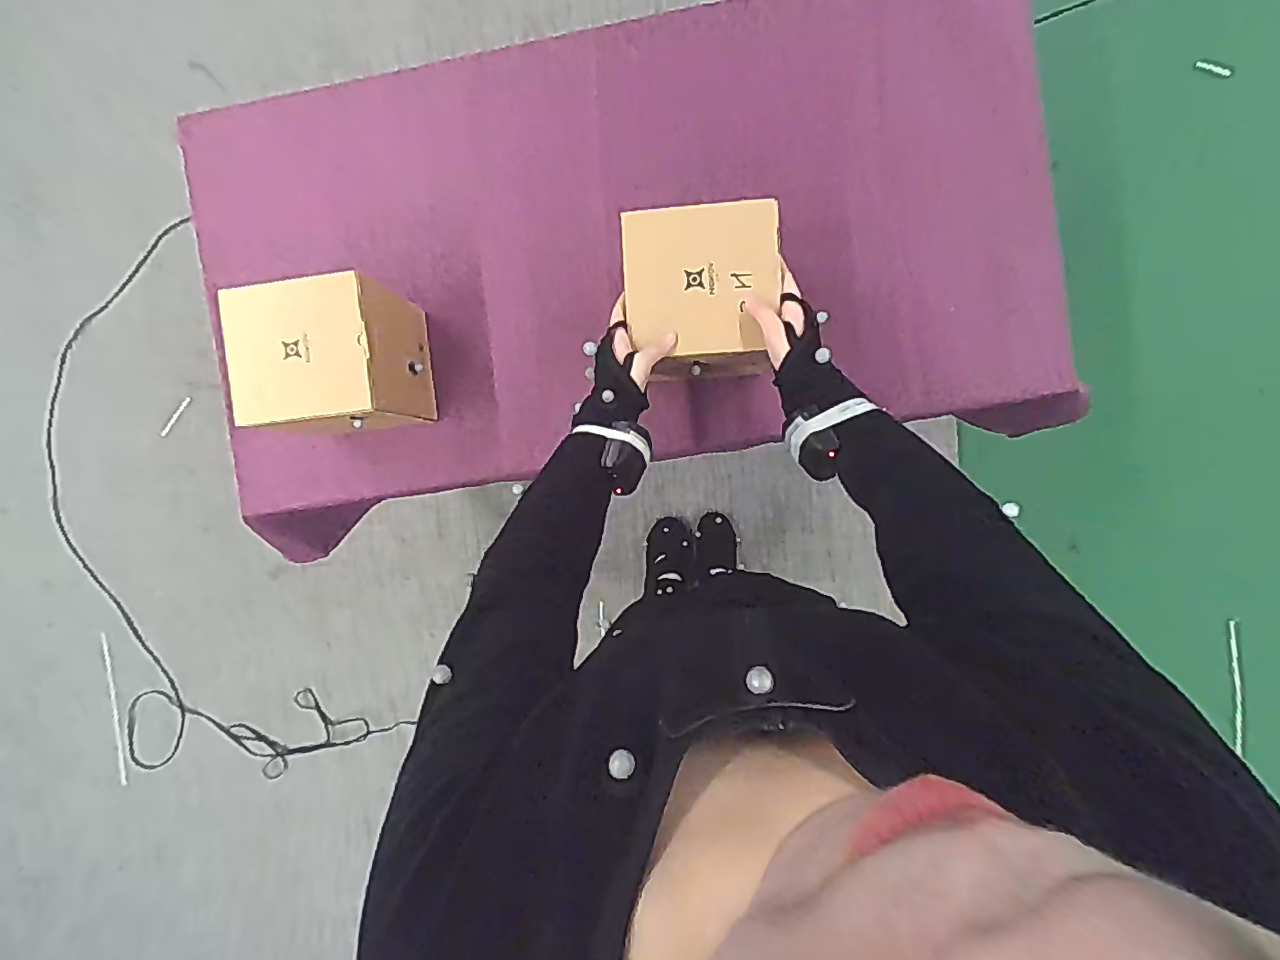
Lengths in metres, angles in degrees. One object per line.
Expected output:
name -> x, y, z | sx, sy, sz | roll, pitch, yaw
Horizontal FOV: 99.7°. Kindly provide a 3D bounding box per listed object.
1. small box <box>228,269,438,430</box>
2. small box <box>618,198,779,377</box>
small box -> -0.398, -0.161, 0.726 | 0.179, 0.176, 0.168 | -6, 91, 5
small box -> 0.073, -0.226, 0.680 | 0.179, 0.176, 0.168 | -2, 92, 5
